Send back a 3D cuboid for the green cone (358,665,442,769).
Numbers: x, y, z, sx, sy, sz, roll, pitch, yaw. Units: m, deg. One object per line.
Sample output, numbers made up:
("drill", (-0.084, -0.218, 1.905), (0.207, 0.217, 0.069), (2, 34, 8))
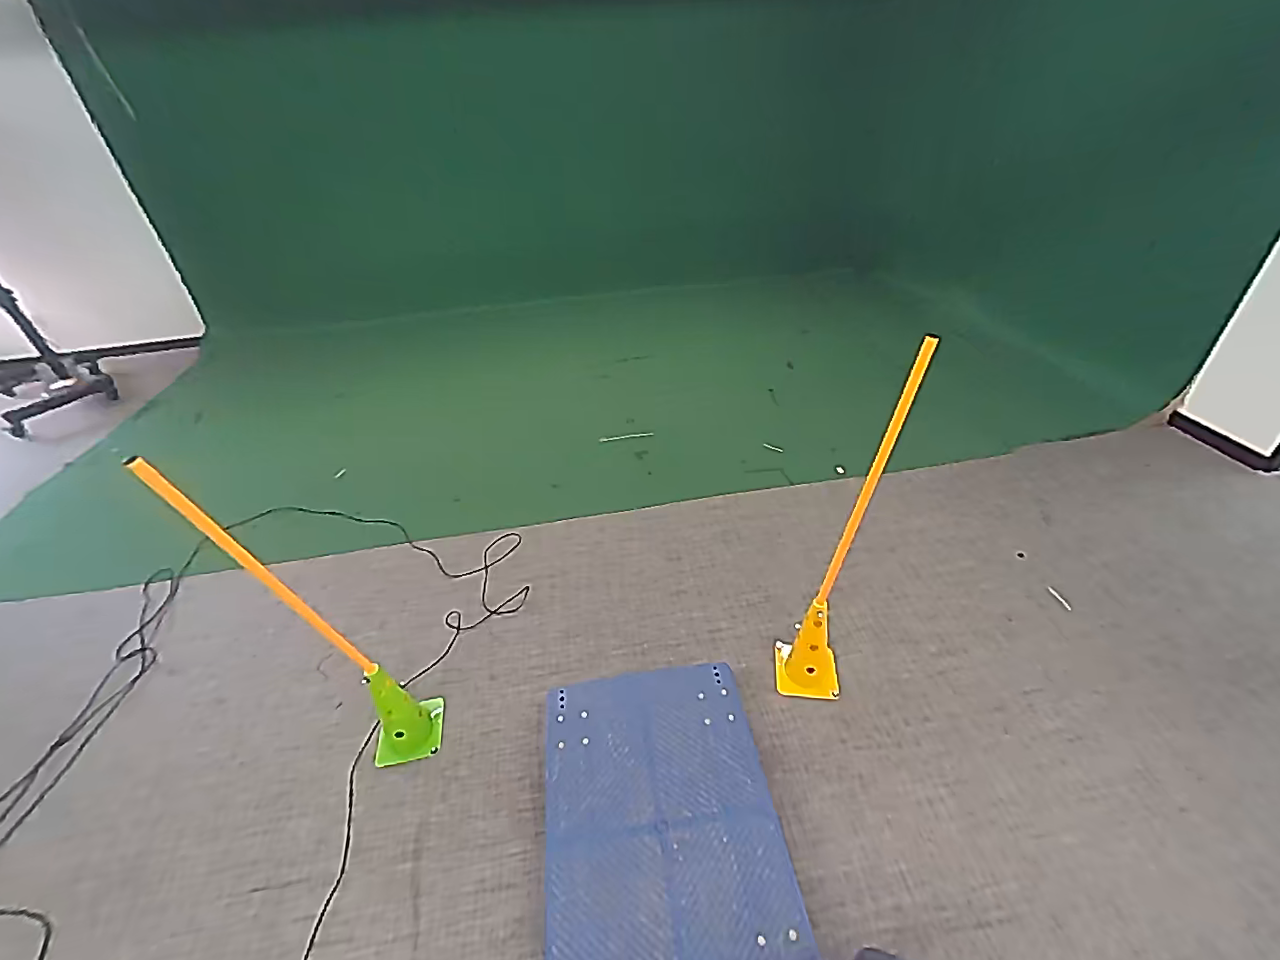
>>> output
("green cone", (-0.765, 0.685, 1.657), (0.202, 0.368, 0.200), (-12, 37, -7))
